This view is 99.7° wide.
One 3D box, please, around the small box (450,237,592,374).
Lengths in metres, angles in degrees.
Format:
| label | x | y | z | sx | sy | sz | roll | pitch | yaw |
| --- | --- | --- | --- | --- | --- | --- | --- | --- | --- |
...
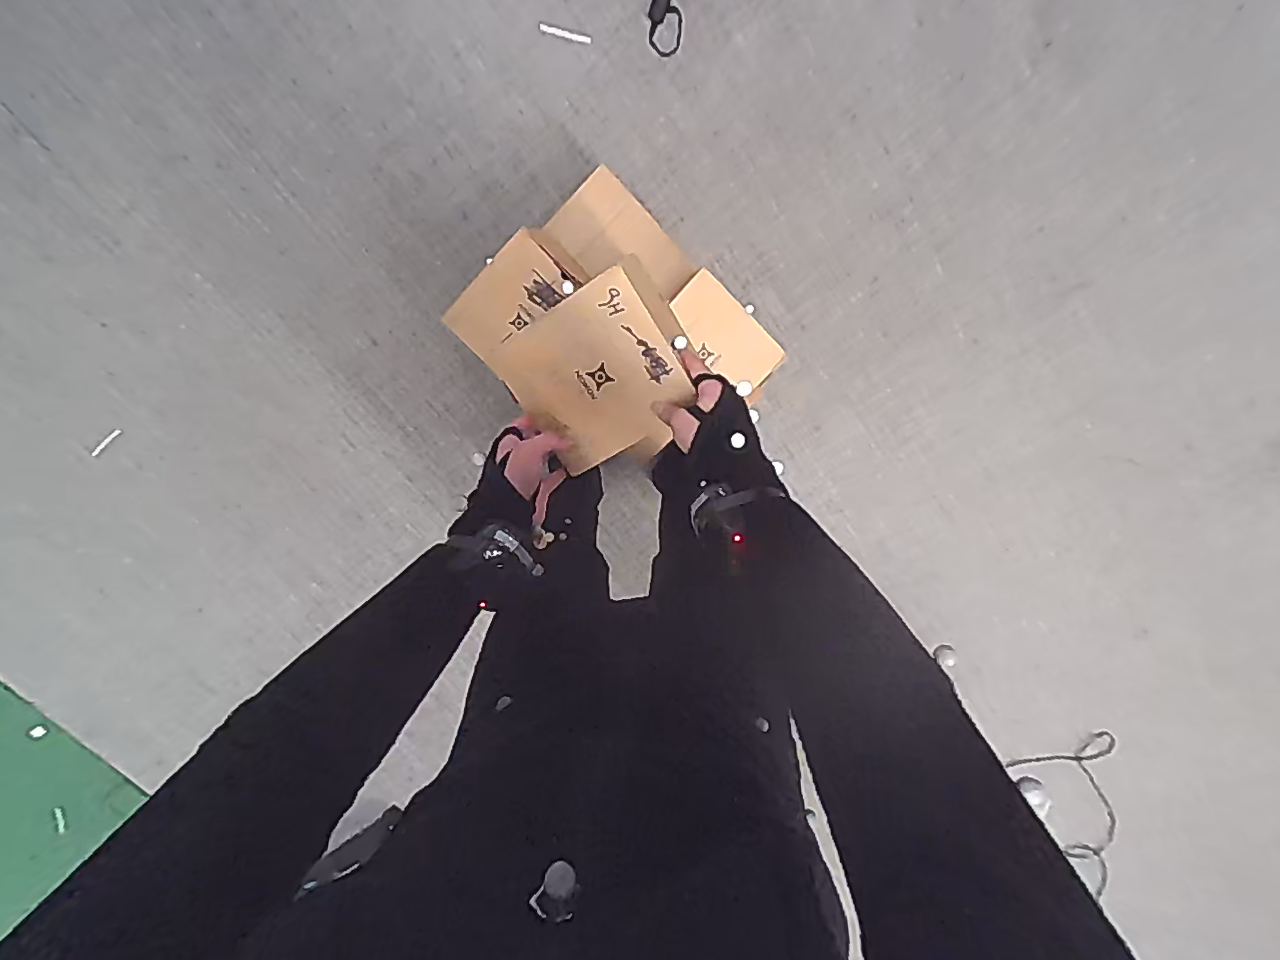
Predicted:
| label | x | y | z | sx | sy | sz | roll | pitch | yaw |
| --- | --- | --- | --- | --- | --- | --- | --- | --- | --- |
| small box | -0.150 | -0.245 | 0.831 | 0.179 | 0.176 | 0.168 | -40 | 103 | 17 |

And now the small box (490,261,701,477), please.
| label | x | y | z | sx | sy | sz | roll | pitch | yaw |
| --- | --- | --- | --- | --- | --- | --- | --- | --- | --- |
| small box | -0.038 | -0.136 | 0.641 | 0.179 | 0.176 | 0.168 | -28 | 109 | 19 |

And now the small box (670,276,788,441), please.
| label | x | y | z | sx | sy | sz | roll | pitch | yaw |
| --- | --- | --- | --- | --- | --- | --- | --- | --- | --- |
| small box | 0.096 | -0.192 | 0.842 | 0.179 | 0.176 | 0.168 | 41 | 102 | -10 |
